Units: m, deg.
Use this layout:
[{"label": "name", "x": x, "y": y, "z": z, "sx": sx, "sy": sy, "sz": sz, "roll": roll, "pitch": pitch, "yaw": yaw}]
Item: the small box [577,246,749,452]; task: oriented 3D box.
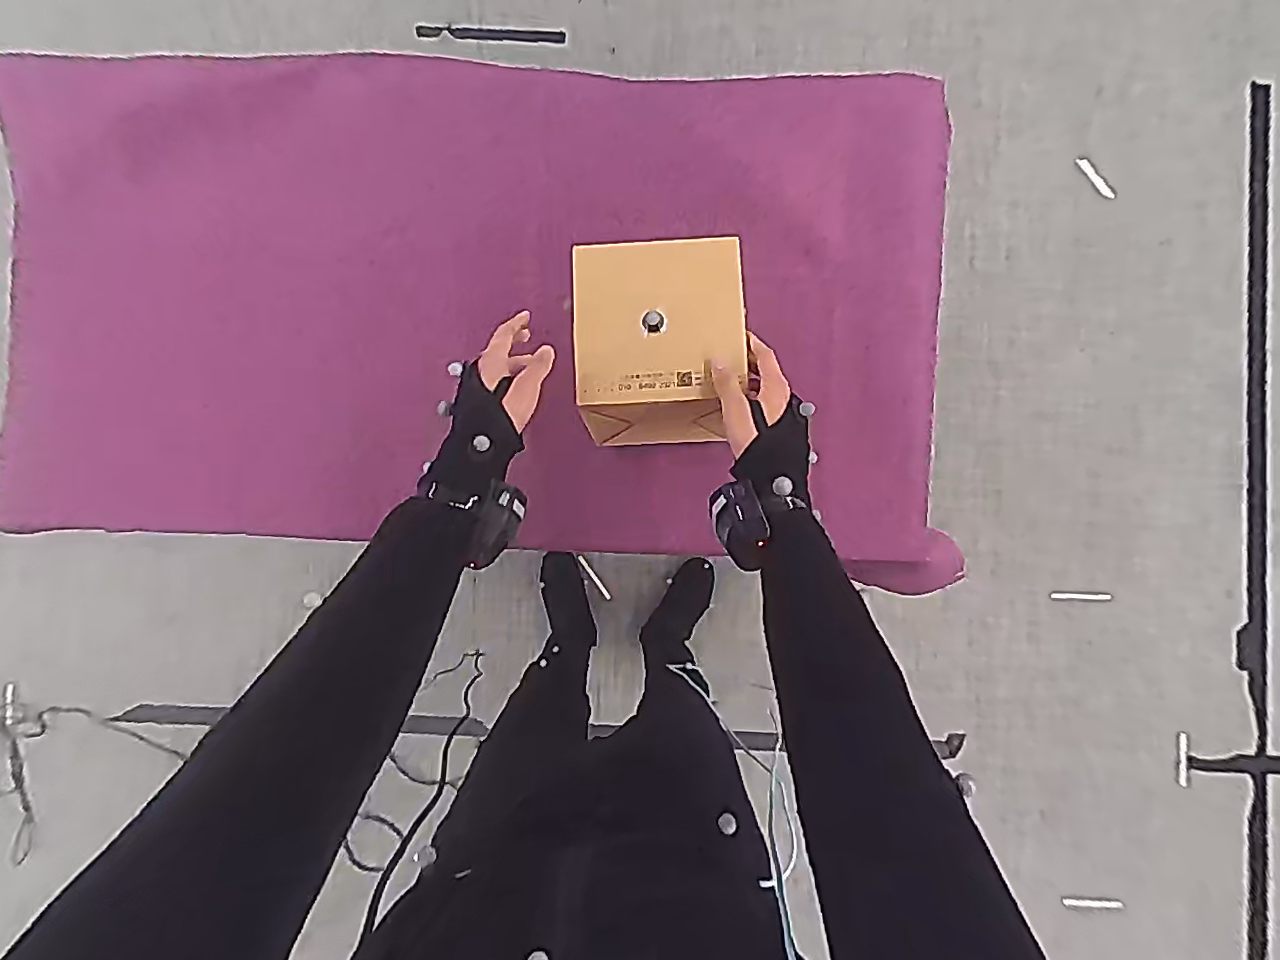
[{"label": "small box", "x": 0.026, "y": -0.133, "z": 0.607, "sx": 0.168, "sy": 0.179, "sz": 0.176, "roll": -2, "pitch": 81, "yaw": 2}]
